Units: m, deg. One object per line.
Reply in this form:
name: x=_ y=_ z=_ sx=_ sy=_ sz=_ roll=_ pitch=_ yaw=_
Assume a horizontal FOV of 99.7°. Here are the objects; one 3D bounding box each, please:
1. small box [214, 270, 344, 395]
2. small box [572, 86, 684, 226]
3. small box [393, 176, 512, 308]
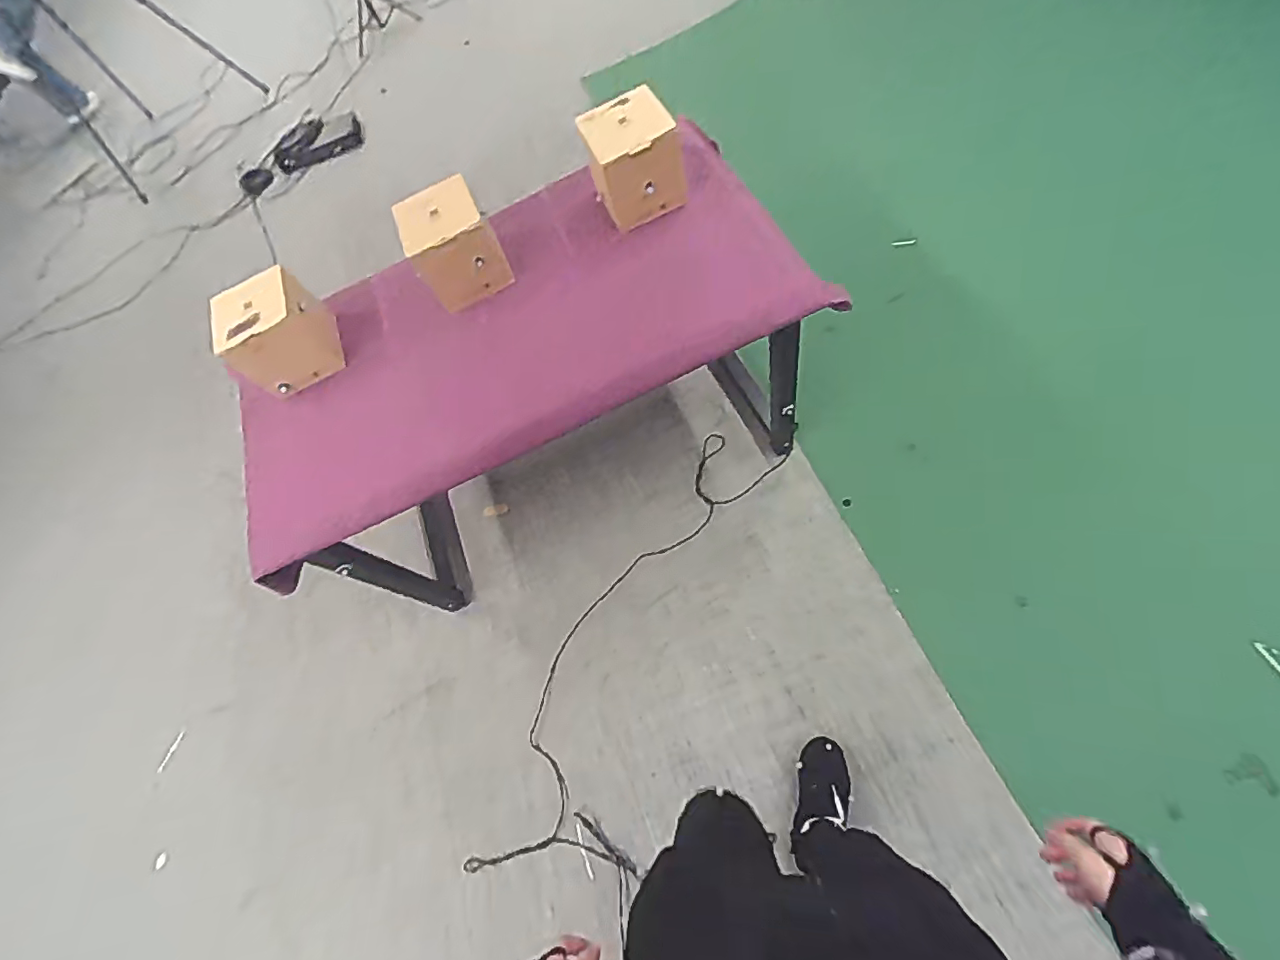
small box: x=-0.776 y=-0.309 z=1.175 sx=0.168 sy=0.176 sz=0.179 roll=-27 pitch=63 yaw=1
small box: x=-0.018 y=-0.670 z=1.142 sx=0.168 sy=0.176 sz=0.179 roll=-25 pitch=64 yaw=3
small box: x=-0.397 y=-0.499 z=1.165 sx=0.168 sy=0.176 sz=0.179 roll=-26 pitch=63 yaw=1
